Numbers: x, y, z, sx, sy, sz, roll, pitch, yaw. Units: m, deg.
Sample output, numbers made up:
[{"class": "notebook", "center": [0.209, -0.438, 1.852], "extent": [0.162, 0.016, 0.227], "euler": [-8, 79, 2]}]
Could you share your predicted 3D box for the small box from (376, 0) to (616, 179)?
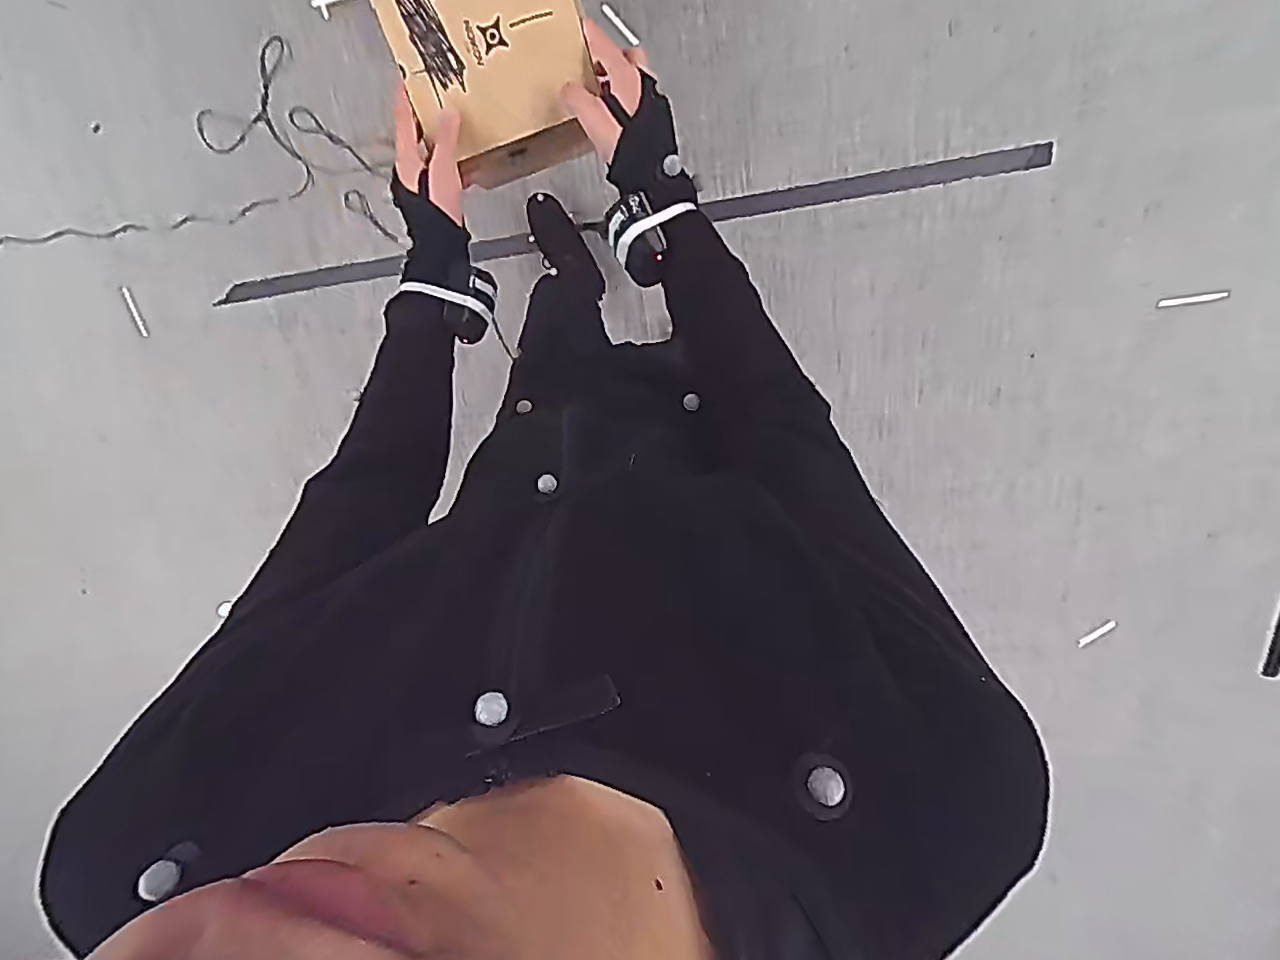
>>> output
[{"class": "small box", "center": [-0.134, -0.432, 0.557], "extent": [0.179, 0.176, 0.168], "euler": [-15, 111, 8]}]
